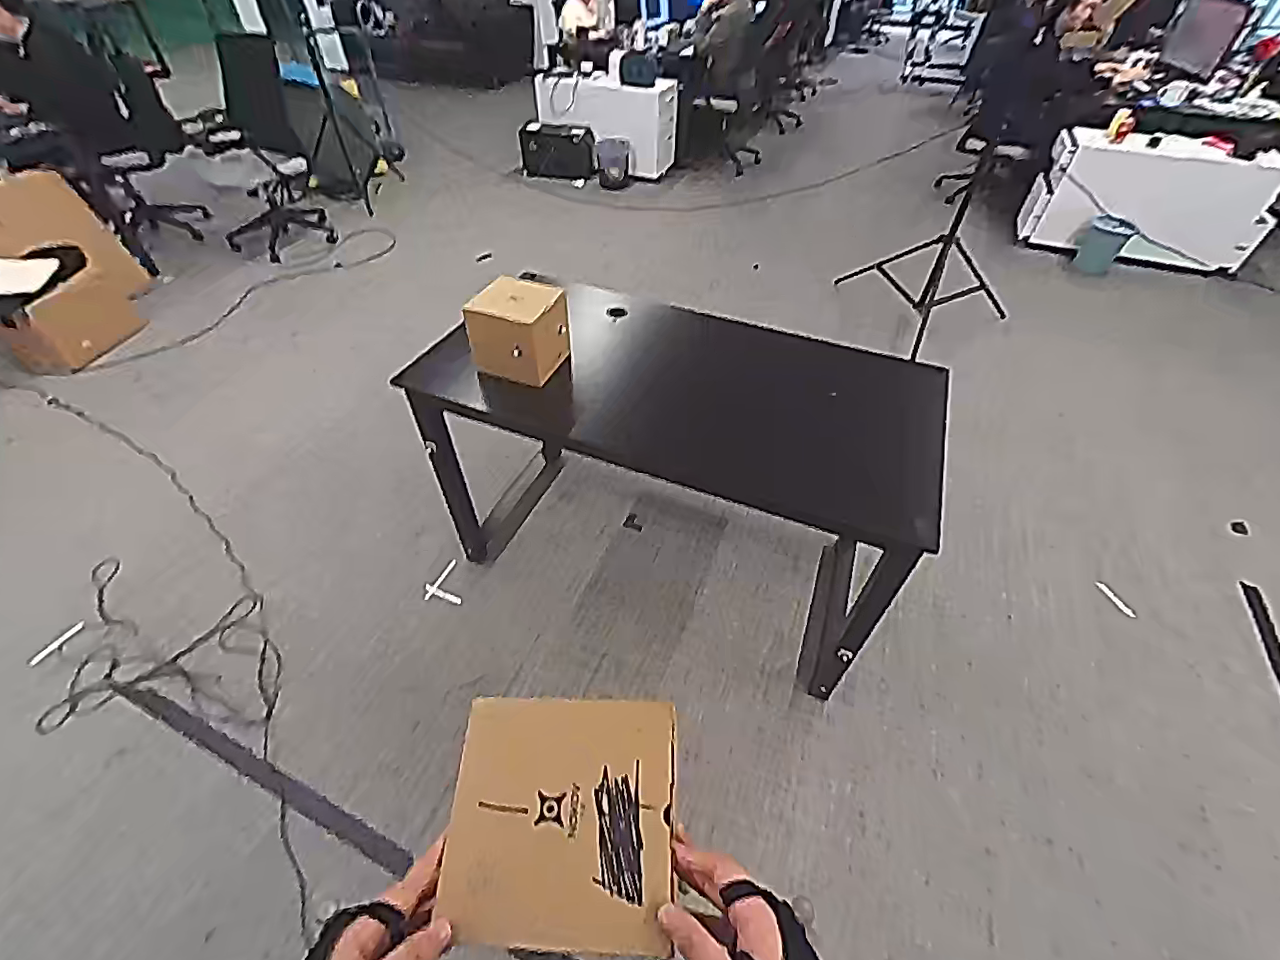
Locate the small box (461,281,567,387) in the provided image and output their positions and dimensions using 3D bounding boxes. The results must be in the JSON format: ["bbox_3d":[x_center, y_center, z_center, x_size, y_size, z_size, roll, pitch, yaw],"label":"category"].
[{"bbox_3d":[-0.283,-0.338,1.267,0.179,0.176,0.168,15,47,14],"label":"small box"}]

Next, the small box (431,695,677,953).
[{"bbox_3d":[-0.055,0.300,0.488,0.179,0.176,0.168,-1,56,5],"label":"small box"}]
